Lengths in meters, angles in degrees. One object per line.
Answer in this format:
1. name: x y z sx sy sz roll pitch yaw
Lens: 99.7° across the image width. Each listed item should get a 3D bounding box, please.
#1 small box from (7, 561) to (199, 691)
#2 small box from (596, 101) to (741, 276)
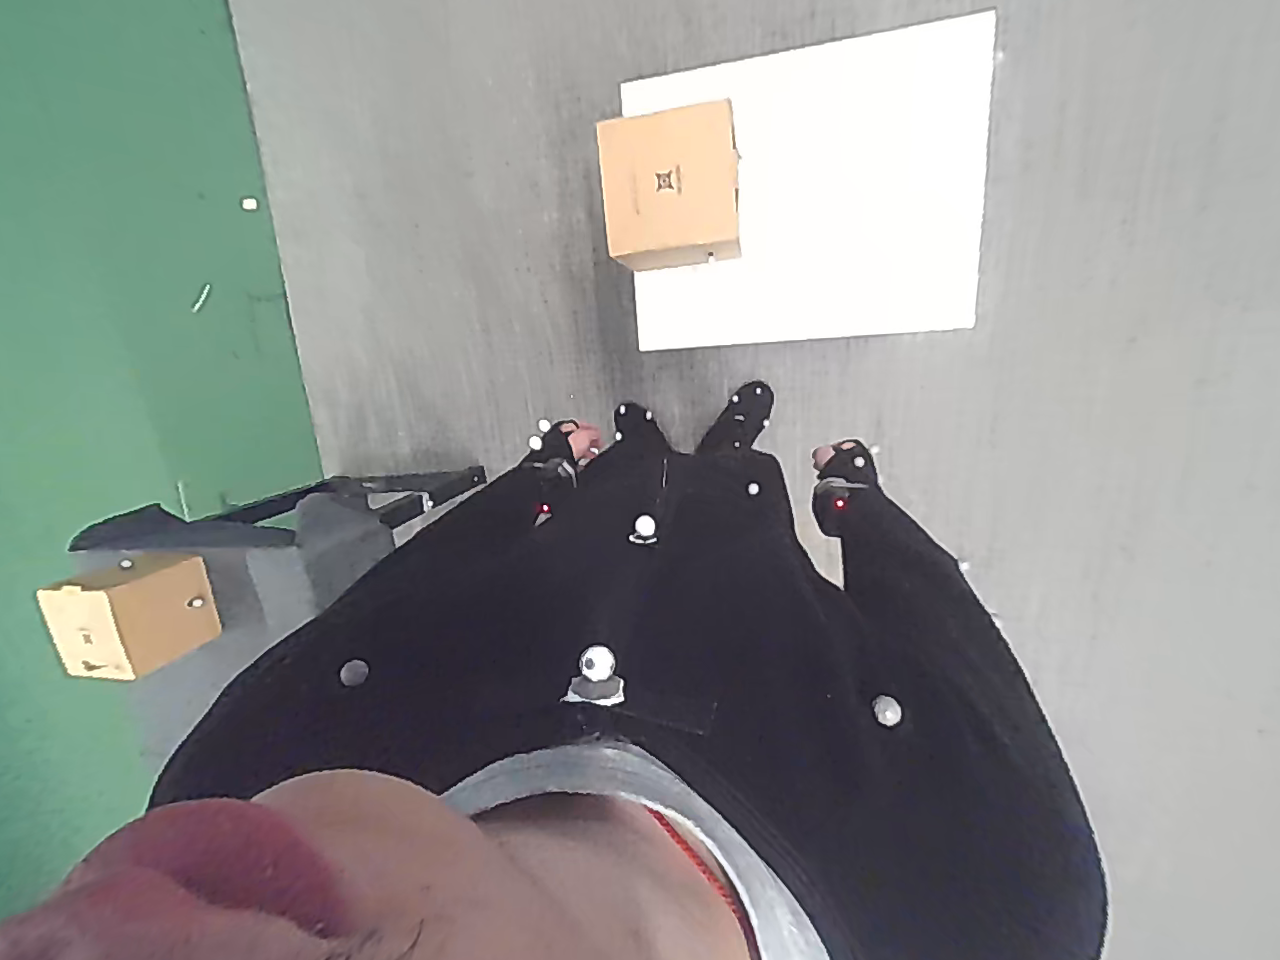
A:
1. small box: -0.964 0.255 0.986 0.168 0.176 0.179 -1 103 12
2. small box: 0.049 -0.391 0.758 0.179 0.176 0.168 -3 101 12
